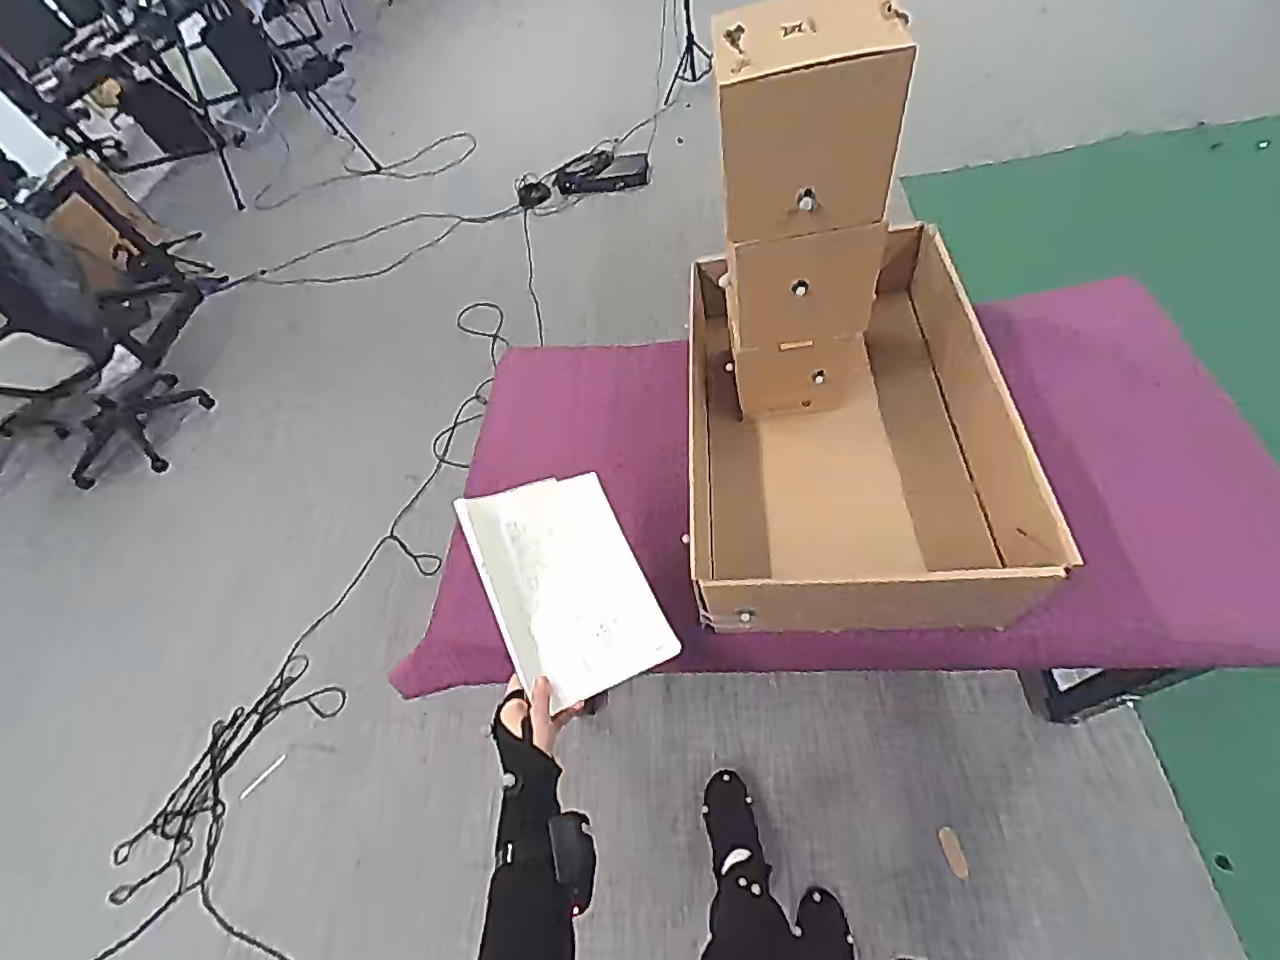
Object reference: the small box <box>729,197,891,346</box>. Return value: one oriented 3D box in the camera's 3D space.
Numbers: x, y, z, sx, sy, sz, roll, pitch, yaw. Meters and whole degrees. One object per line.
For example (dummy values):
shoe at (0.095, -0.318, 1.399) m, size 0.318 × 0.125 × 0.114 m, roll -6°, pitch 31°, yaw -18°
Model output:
small box at (0.213, -0.305, 0.728) m, size 0.179 × 0.176 × 0.168 m, roll -6°, pitch 56°, yaw 9°

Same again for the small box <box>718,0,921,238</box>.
small box at (0.179, -0.396, 0.596) m, size 0.179 × 0.176 × 0.168 m, roll -4°, pitch 57°, yaw 10°
